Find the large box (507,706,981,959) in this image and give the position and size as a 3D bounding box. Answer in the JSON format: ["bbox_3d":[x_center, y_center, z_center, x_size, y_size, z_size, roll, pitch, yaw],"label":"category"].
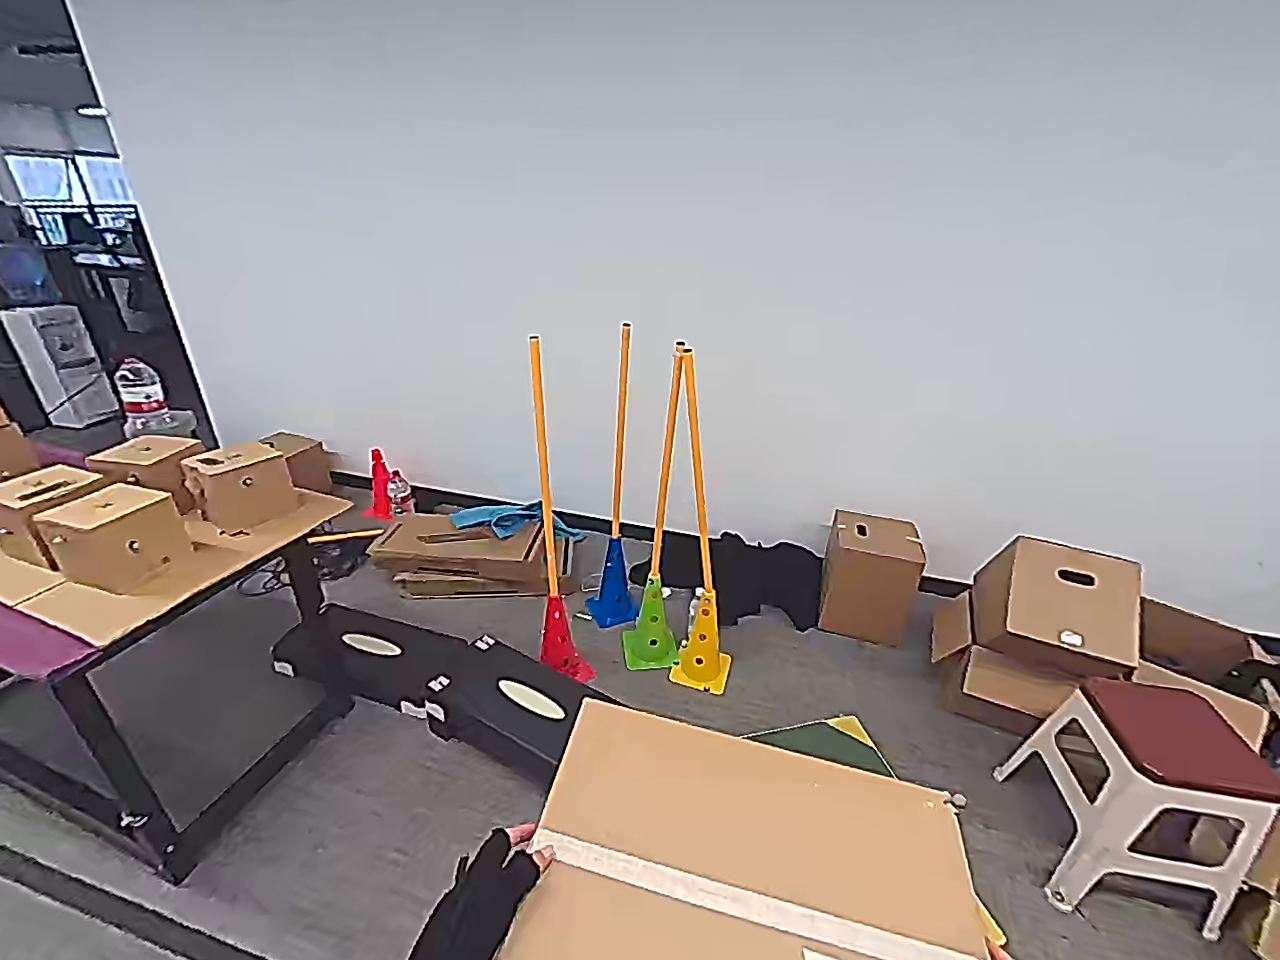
[{"bbox_3d":[0.085,0.505,0.568,0.408,0.320,0.320,12,34,7],"label":"large box"}]
